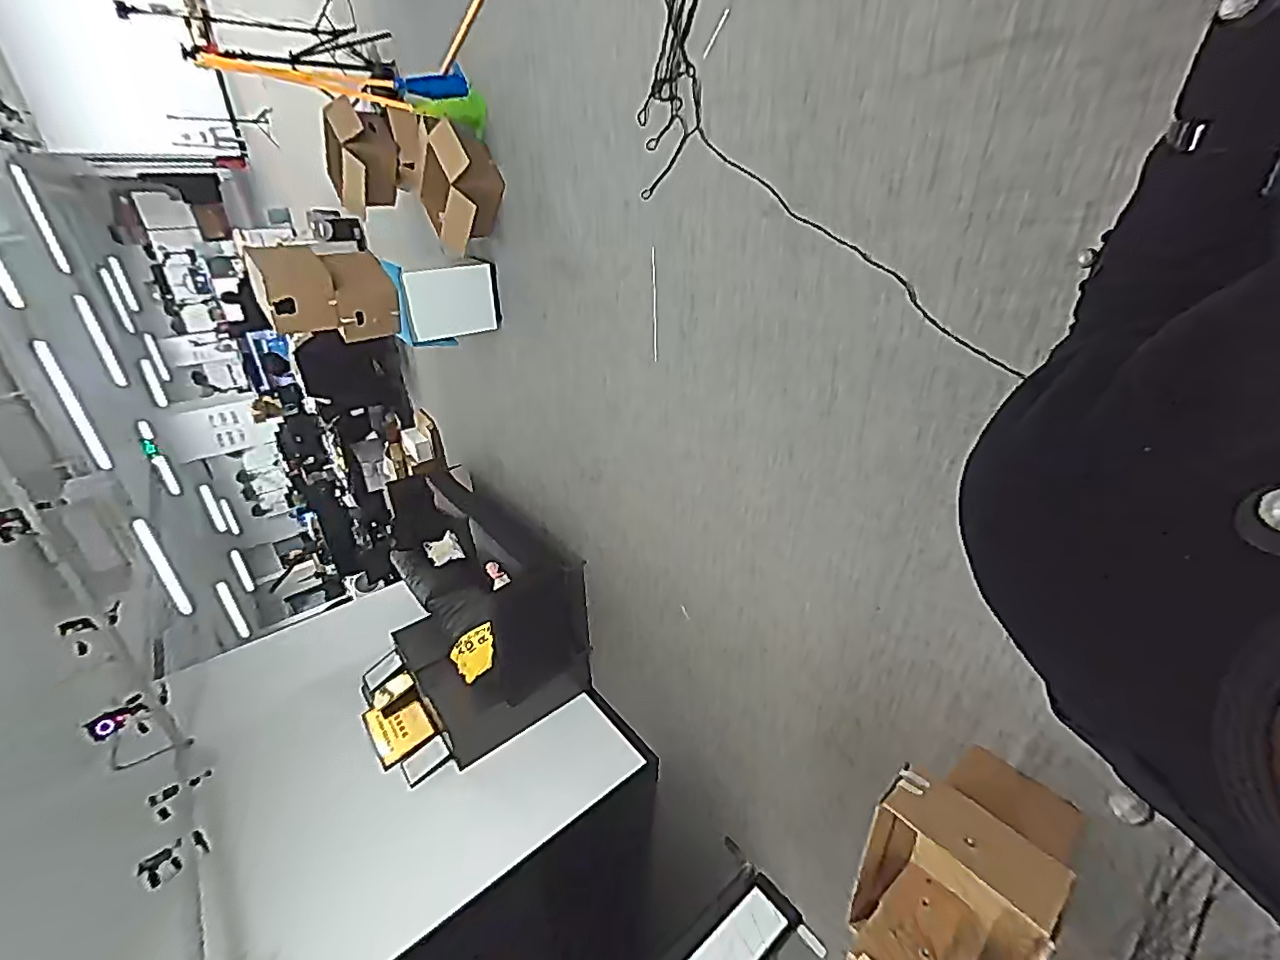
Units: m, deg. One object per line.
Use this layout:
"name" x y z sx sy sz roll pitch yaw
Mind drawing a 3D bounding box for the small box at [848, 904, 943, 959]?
"small box" 0.648 1.251 1.381 0.168 0.176 0.179 22 123 48

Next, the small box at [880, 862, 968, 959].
"small box" 0.771 1.209 1.483 0.168 0.176 0.179 24 123 47
